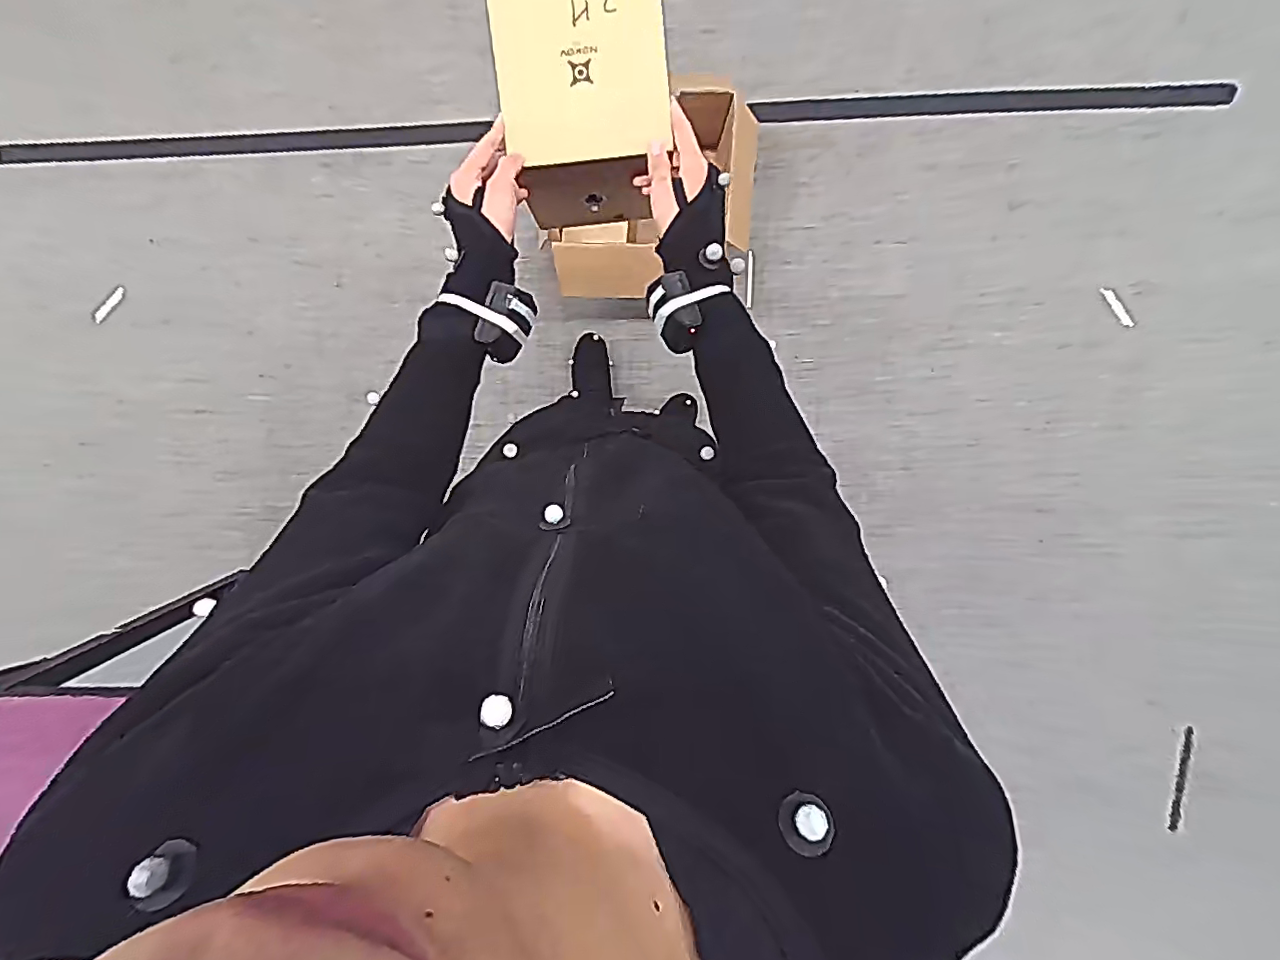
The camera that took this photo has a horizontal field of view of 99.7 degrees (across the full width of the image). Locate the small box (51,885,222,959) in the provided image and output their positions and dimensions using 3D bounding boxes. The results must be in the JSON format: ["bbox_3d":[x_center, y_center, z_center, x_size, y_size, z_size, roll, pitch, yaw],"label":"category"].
[{"bbox_3d":[-0.967,0.924,1.040,0.179,0.176,0.168,-6,101,3],"label":"small box"}]

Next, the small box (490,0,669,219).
[{"bbox_3d":[-0.057,-0.412,0.607,0.168,0.176,0.179,-6,95,0],"label":"small box"}]
